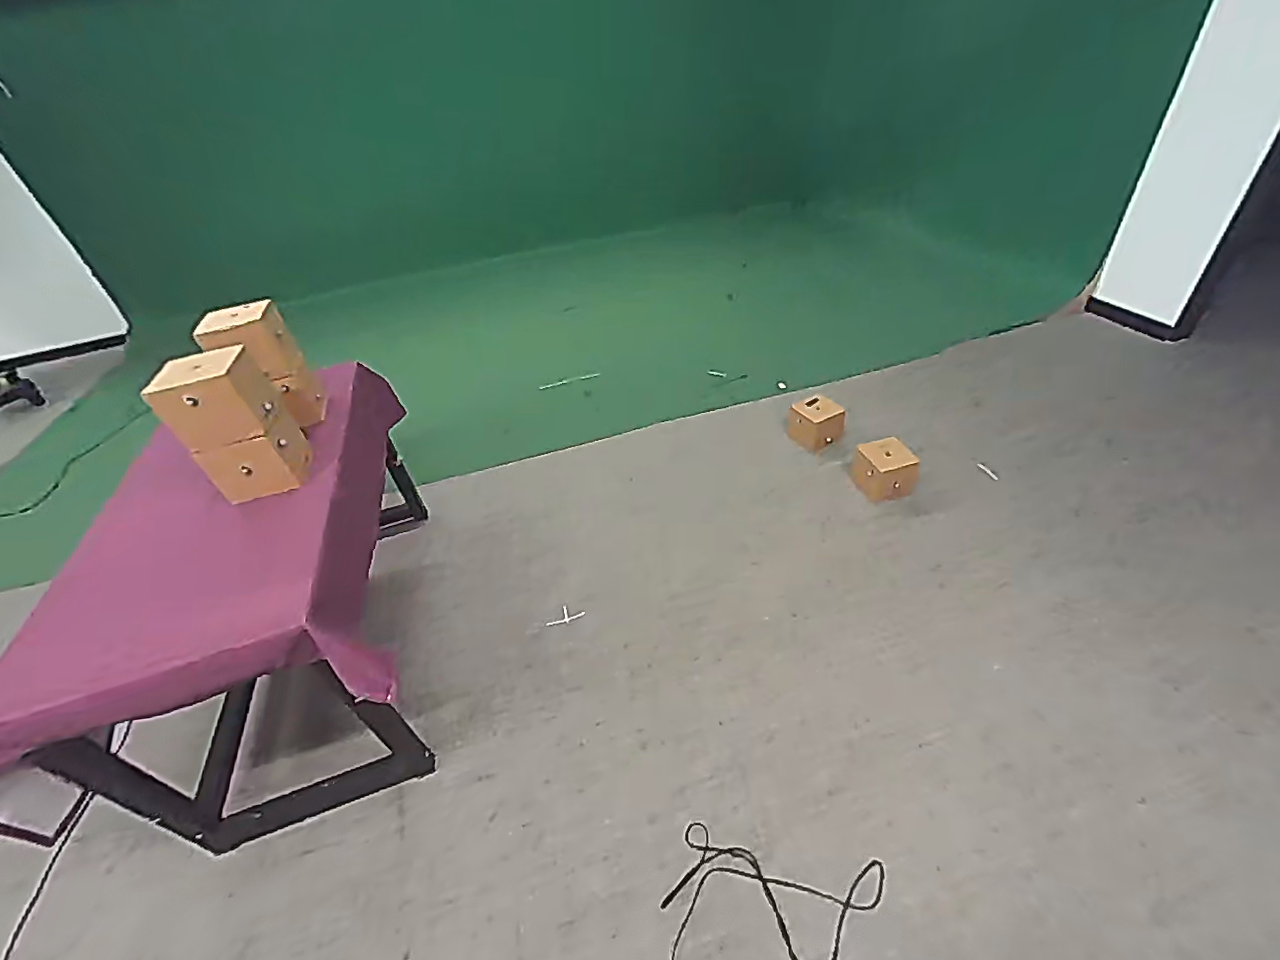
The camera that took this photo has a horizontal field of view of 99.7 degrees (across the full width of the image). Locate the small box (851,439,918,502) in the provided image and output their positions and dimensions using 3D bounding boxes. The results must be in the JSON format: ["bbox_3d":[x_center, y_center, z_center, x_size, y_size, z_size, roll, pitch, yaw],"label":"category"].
[{"bbox_3d":[0.954,-0.031,2.123,0.168,0.176,0.179,-14,40,-7],"label":"small box"}]

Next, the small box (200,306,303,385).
[{"bbox_3d":[-1.091,-0.369,1.537,0.168,0.176,0.179,-18,41,-12],"label":"small box"}]

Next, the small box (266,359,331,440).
[{"bbox_3d":[-1.073,-0.242,1.639,0.179,0.176,0.168,-18,40,-11],"label":"small box"}]

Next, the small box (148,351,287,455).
[{"bbox_3d":[-0.992,-0.181,1.289,0.179,0.176,0.168,-16,40,-7],"label":"small box"}]

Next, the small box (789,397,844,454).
[{"bbox_3d":[0.781,-0.242,2.413,0.168,0.176,0.179,-23,42,-16],"label":"small box"}]
